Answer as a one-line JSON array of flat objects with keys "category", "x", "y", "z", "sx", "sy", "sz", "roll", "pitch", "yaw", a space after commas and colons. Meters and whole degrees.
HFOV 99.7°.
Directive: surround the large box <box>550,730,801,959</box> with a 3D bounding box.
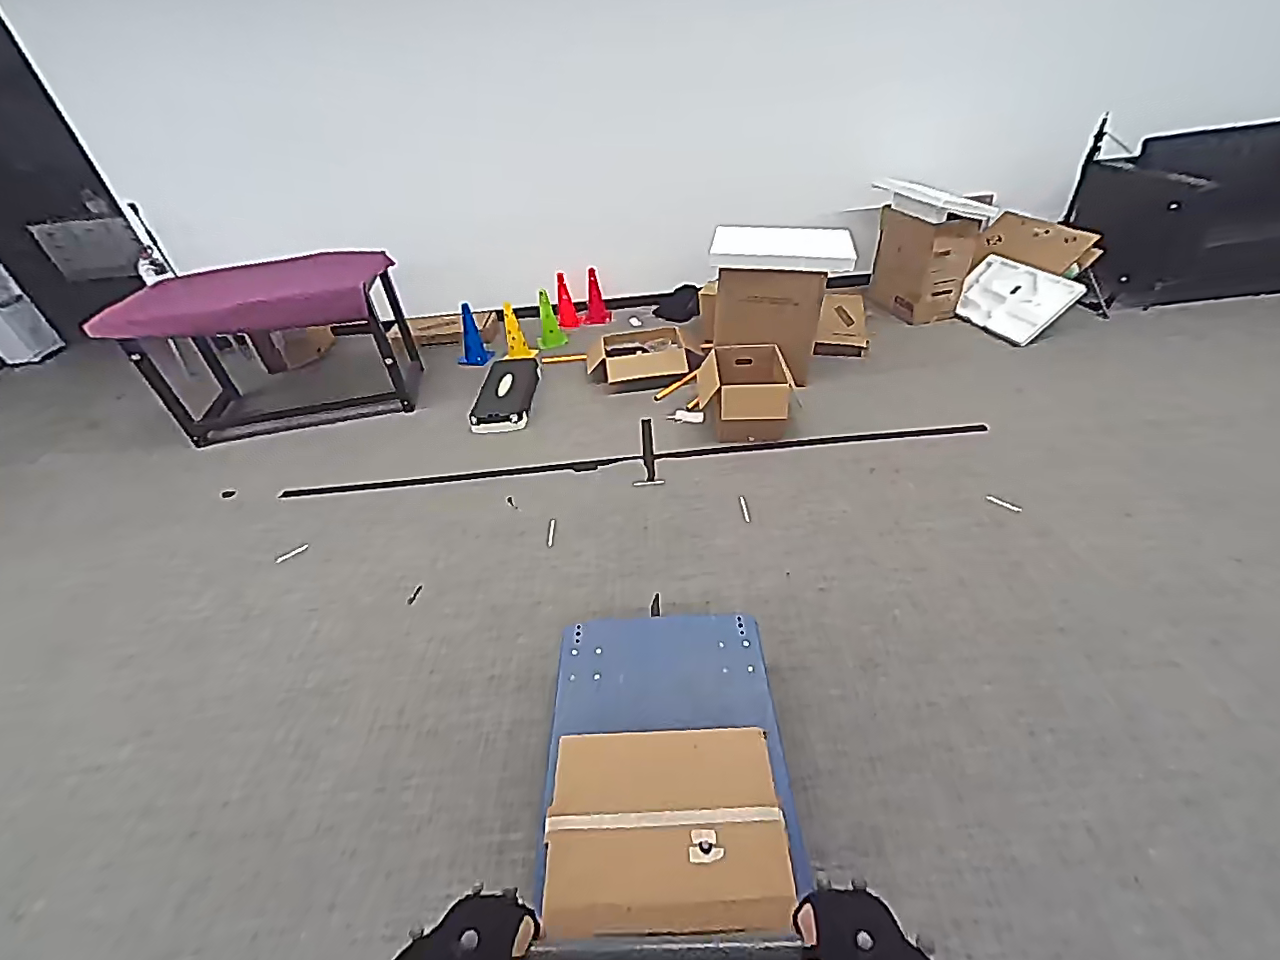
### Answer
[{"category": "large box", "x": 0.056, "y": 0.719, "z": 1.047, "sx": 0.408, "sy": 0.320, "sz": 0.320, "roll": -3, "pitch": 39, "yaw": 1}]
